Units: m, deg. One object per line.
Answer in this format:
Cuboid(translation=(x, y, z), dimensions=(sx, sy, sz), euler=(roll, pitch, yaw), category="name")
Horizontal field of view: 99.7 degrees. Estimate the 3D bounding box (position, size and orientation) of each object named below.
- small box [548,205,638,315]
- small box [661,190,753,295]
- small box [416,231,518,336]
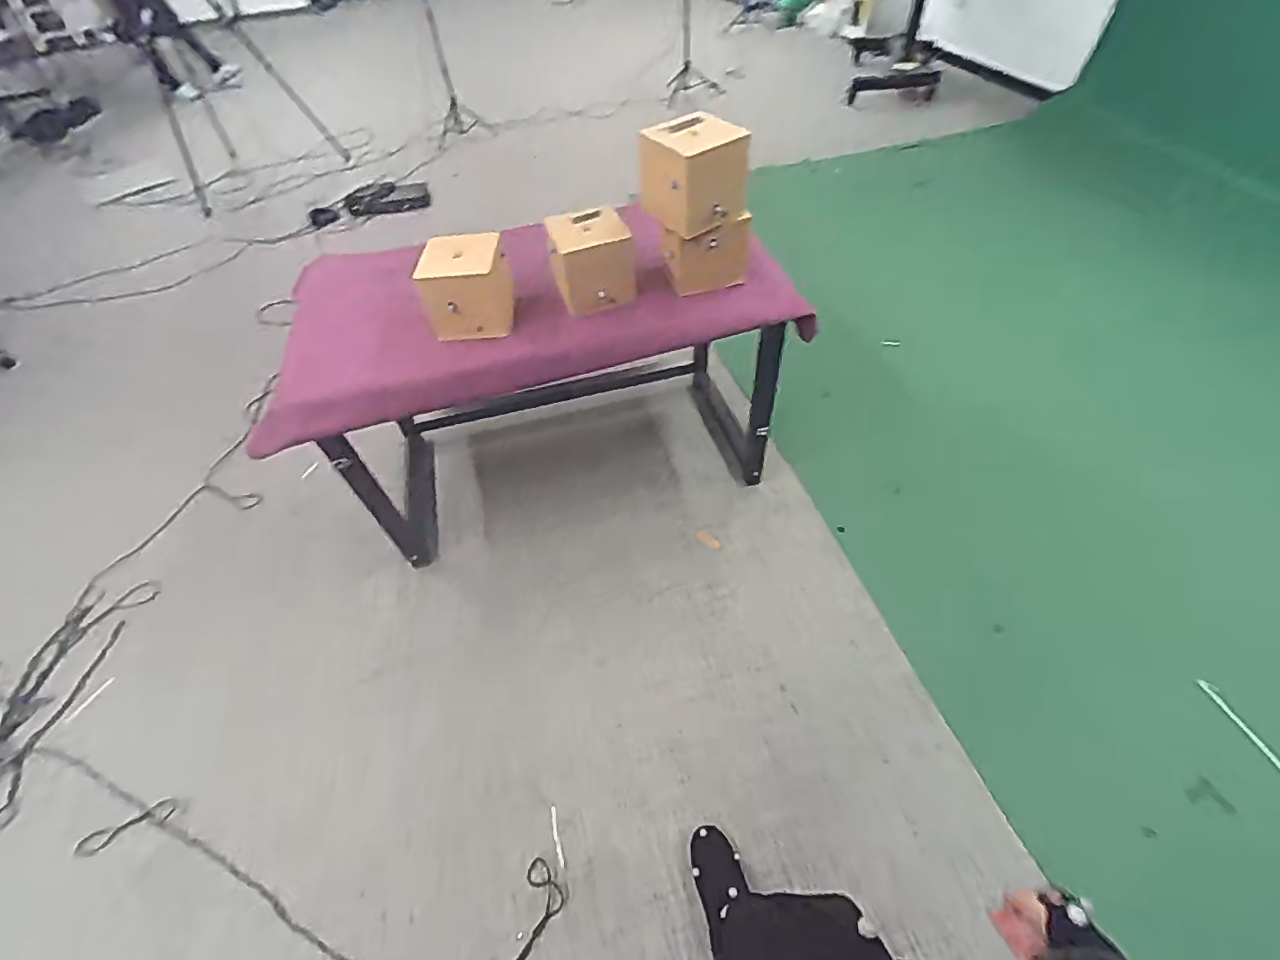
Cuboid(translation=(-0.110, -0.521, 1.286), dimensions=(0.168, 0.176, 0.179), euler=(-17, 53, -9), category="small box")
Cuboid(translation=(0.158, -0.568, 1.304), dimensions=(0.179, 0.176, 0.168), euler=(-12, 51, -5), category="small box")
Cuboid(translation=(-0.388, -0.447, 1.249), dimensions=(0.168, 0.176, 0.179), euler=(-4, 50, 2), category="small box")
